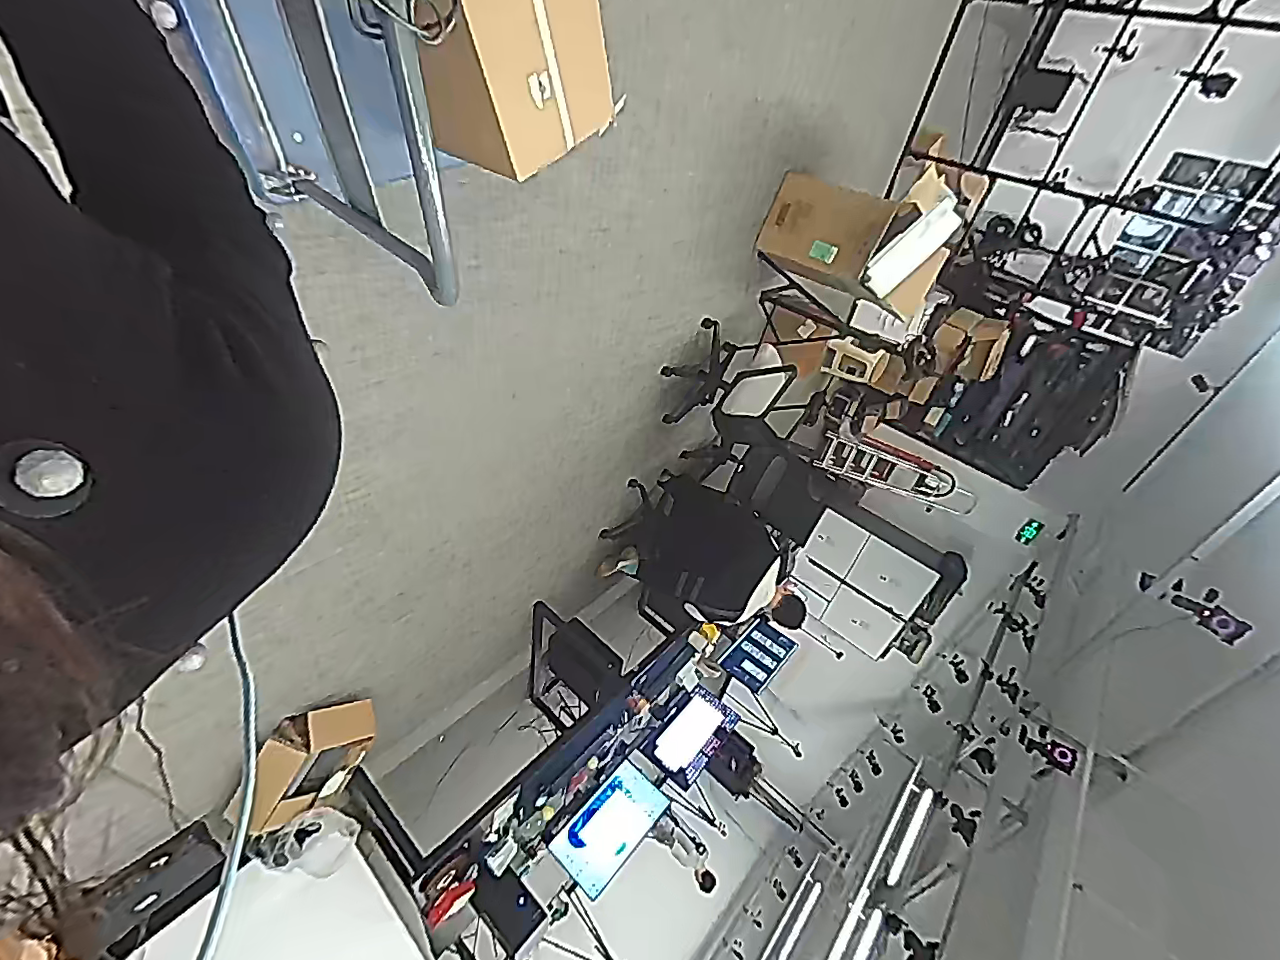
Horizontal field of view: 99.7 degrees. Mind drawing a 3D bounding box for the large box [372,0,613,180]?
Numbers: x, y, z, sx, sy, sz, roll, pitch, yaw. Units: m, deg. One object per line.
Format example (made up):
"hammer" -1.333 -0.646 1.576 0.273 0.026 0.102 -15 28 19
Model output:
"large box" -0.298 -0.914 1.093 0.320 0.320 0.408 -46 153 -19
